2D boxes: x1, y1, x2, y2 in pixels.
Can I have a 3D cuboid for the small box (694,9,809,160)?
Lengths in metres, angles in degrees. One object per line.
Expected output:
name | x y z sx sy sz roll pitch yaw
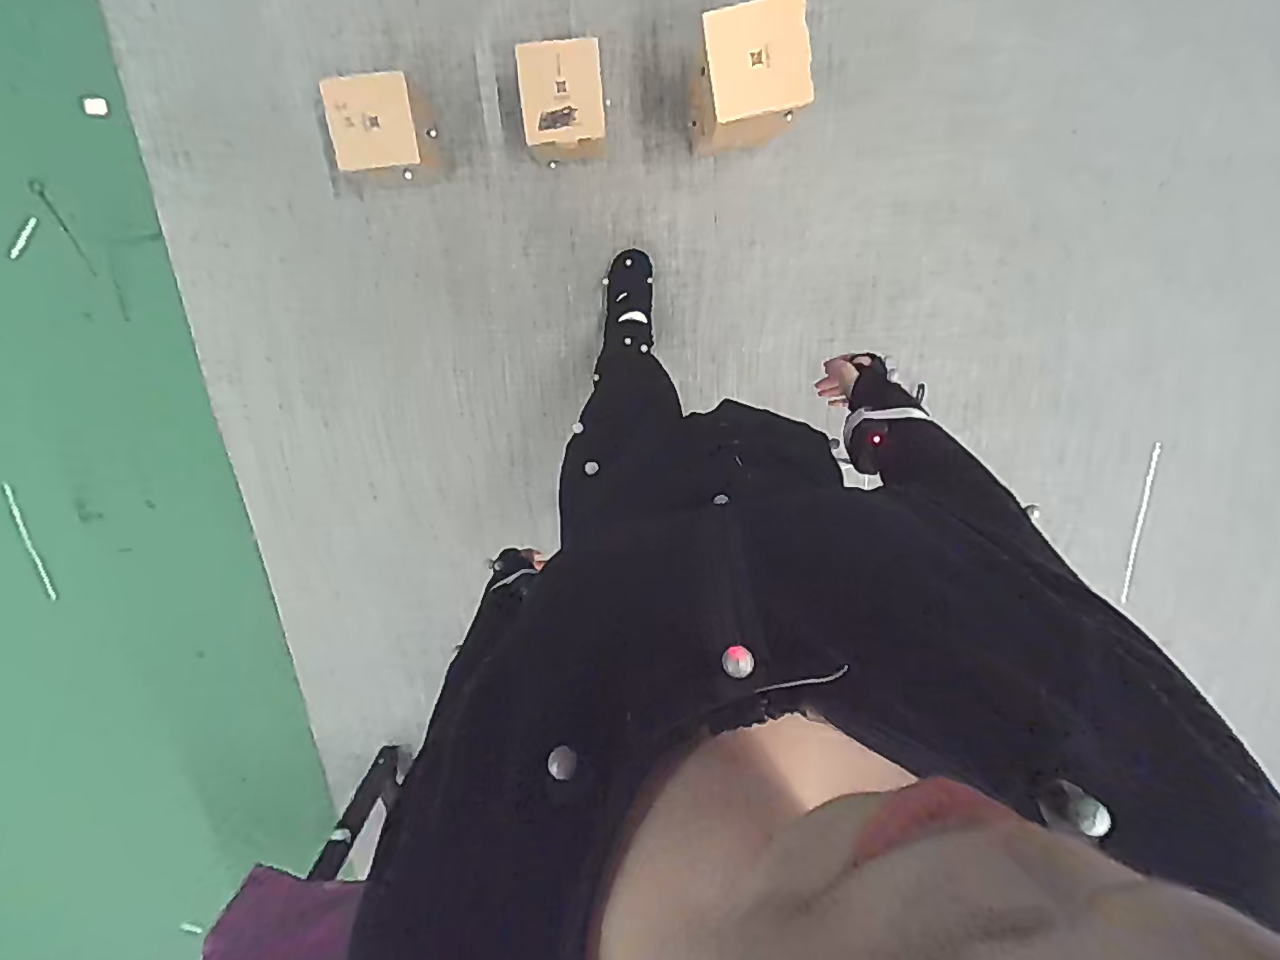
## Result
small box | 0.201 -0.728 1.018 0.179 0.176 0.168 -11 107 3

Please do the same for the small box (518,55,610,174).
small box | -0.156 -0.779 1.173 0.168 0.176 0.179 -4 106 1

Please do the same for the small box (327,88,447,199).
small box | -0.542 -0.731 1.191 0.179 0.176 0.168 -5 106 2

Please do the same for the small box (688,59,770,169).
small box | 0.198 -0.790 1.168 0.179 0.176 0.168 -6 108 2
